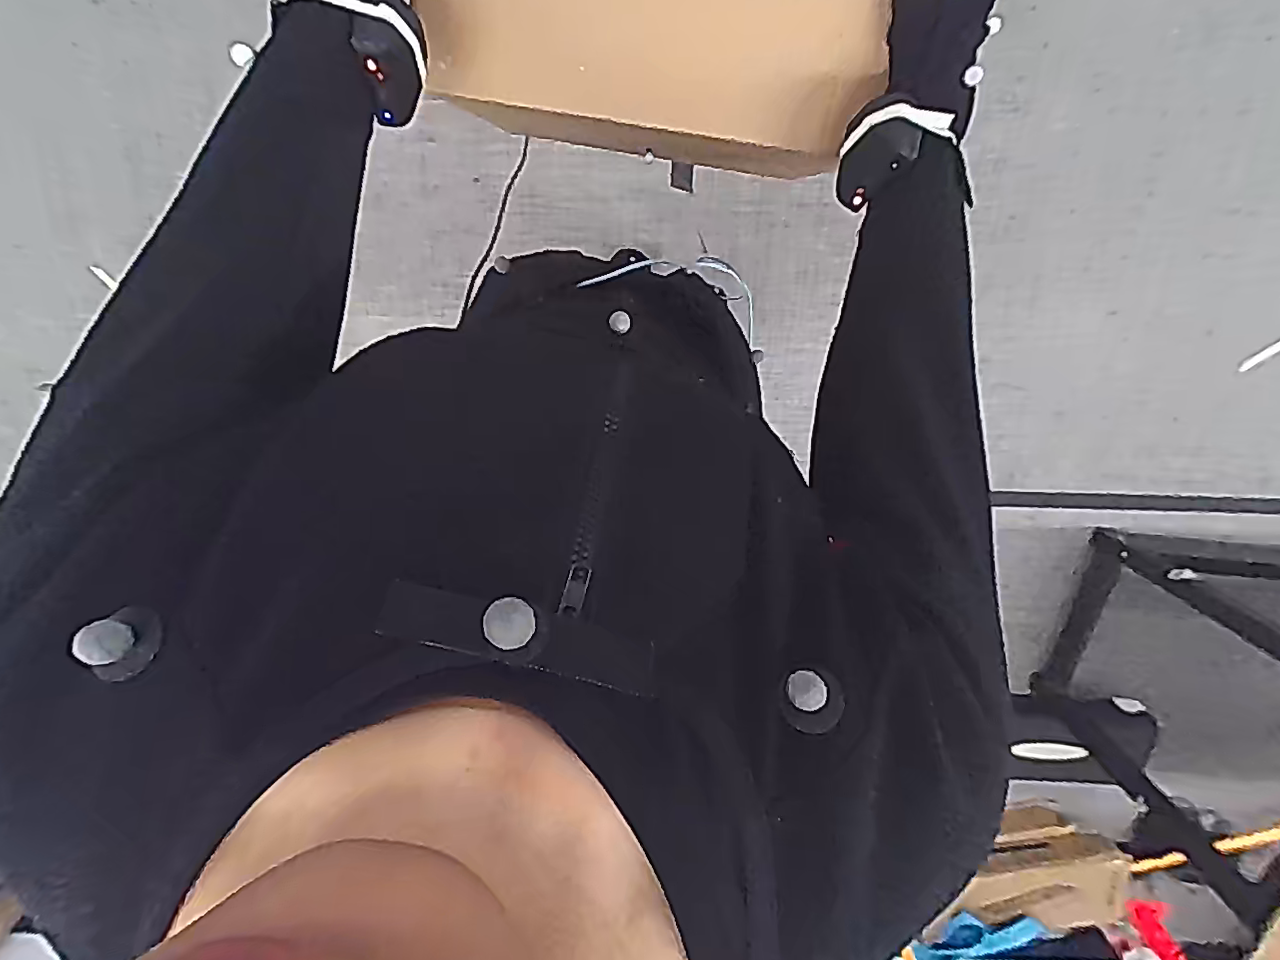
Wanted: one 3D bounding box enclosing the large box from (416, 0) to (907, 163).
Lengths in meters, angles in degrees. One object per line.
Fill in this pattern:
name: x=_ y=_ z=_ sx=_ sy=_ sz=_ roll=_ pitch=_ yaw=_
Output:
large box: x=0.032 y=-0.522 z=0.536 sx=0.408 sy=0.320 sz=0.320 roll=8 pitch=116 yaw=-2
